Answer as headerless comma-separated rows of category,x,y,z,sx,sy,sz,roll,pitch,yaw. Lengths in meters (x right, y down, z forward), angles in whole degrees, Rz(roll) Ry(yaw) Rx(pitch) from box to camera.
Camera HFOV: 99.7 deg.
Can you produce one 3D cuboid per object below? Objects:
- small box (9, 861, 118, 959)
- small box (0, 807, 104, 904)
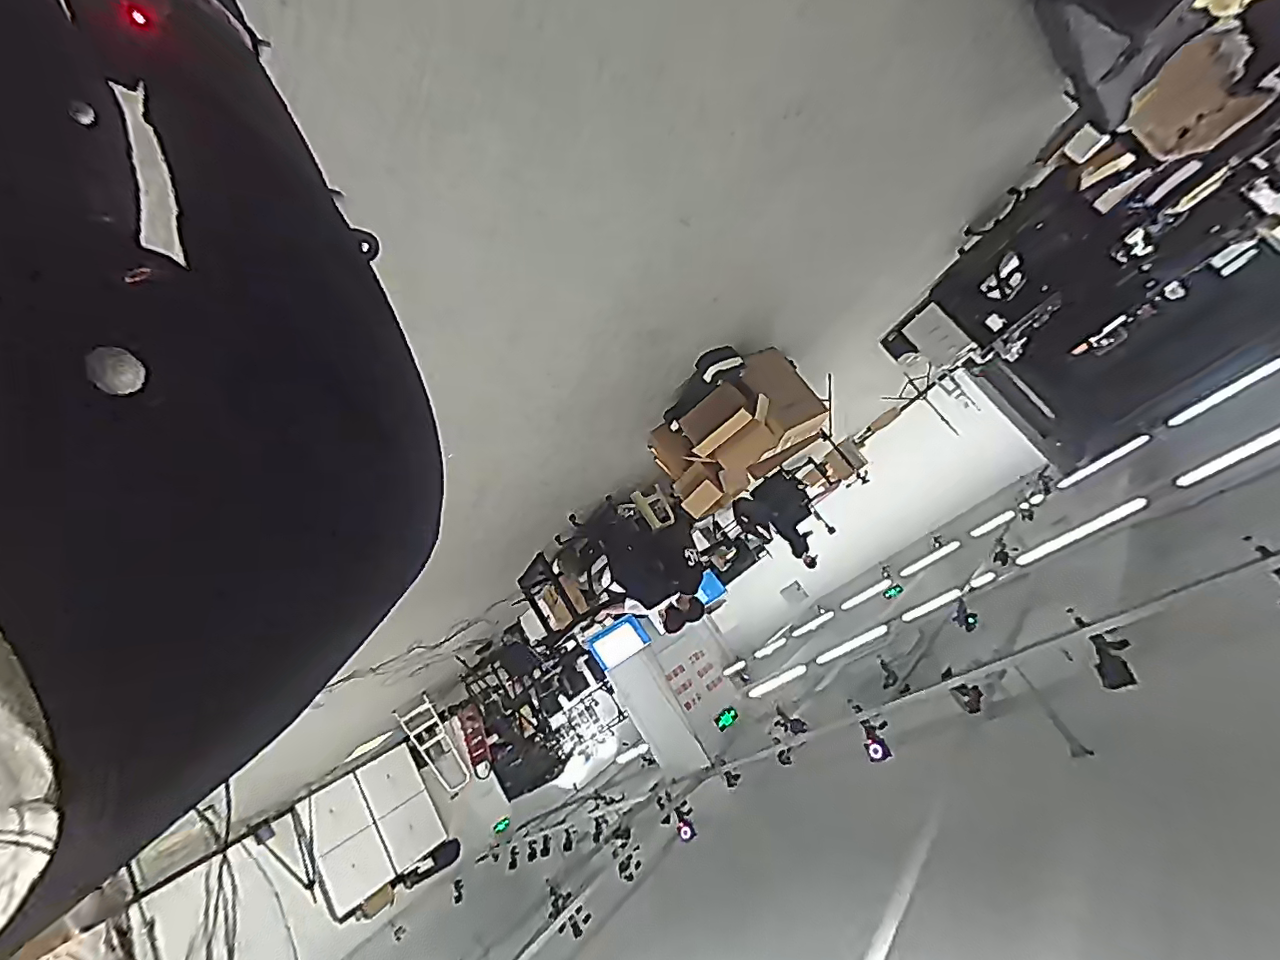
small box,-1.614,1.217,1.514,0.179,0.176,0.168,-19,159,-44
small box,-1.700,1.086,1.566,0.168,0.176,0.179,-18,157,-44
